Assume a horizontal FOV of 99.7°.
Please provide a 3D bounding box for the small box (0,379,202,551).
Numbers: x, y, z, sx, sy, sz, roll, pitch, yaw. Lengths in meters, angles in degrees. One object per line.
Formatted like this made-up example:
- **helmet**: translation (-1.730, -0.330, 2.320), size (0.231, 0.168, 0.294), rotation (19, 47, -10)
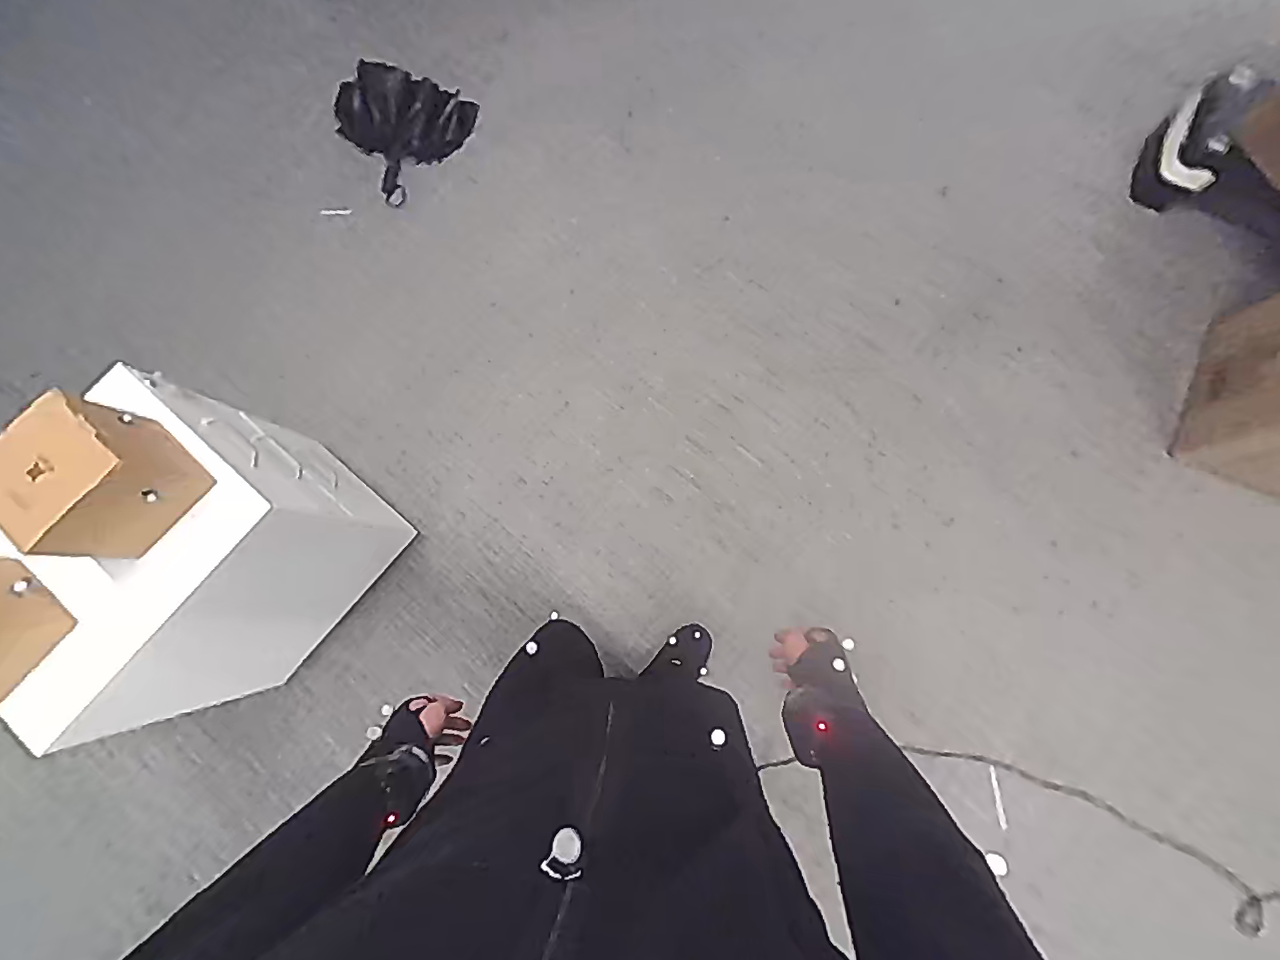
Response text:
- **small box**: translation (-0.808, -0.012, 0.800), size (0.168, 0.176, 0.179), rotation (42, 85, 8)

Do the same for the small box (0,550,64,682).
- **small box**: translation (-1.006, 0.209, 0.764), size (0.168, 0.176, 0.179), rotation (40, 82, 7)
